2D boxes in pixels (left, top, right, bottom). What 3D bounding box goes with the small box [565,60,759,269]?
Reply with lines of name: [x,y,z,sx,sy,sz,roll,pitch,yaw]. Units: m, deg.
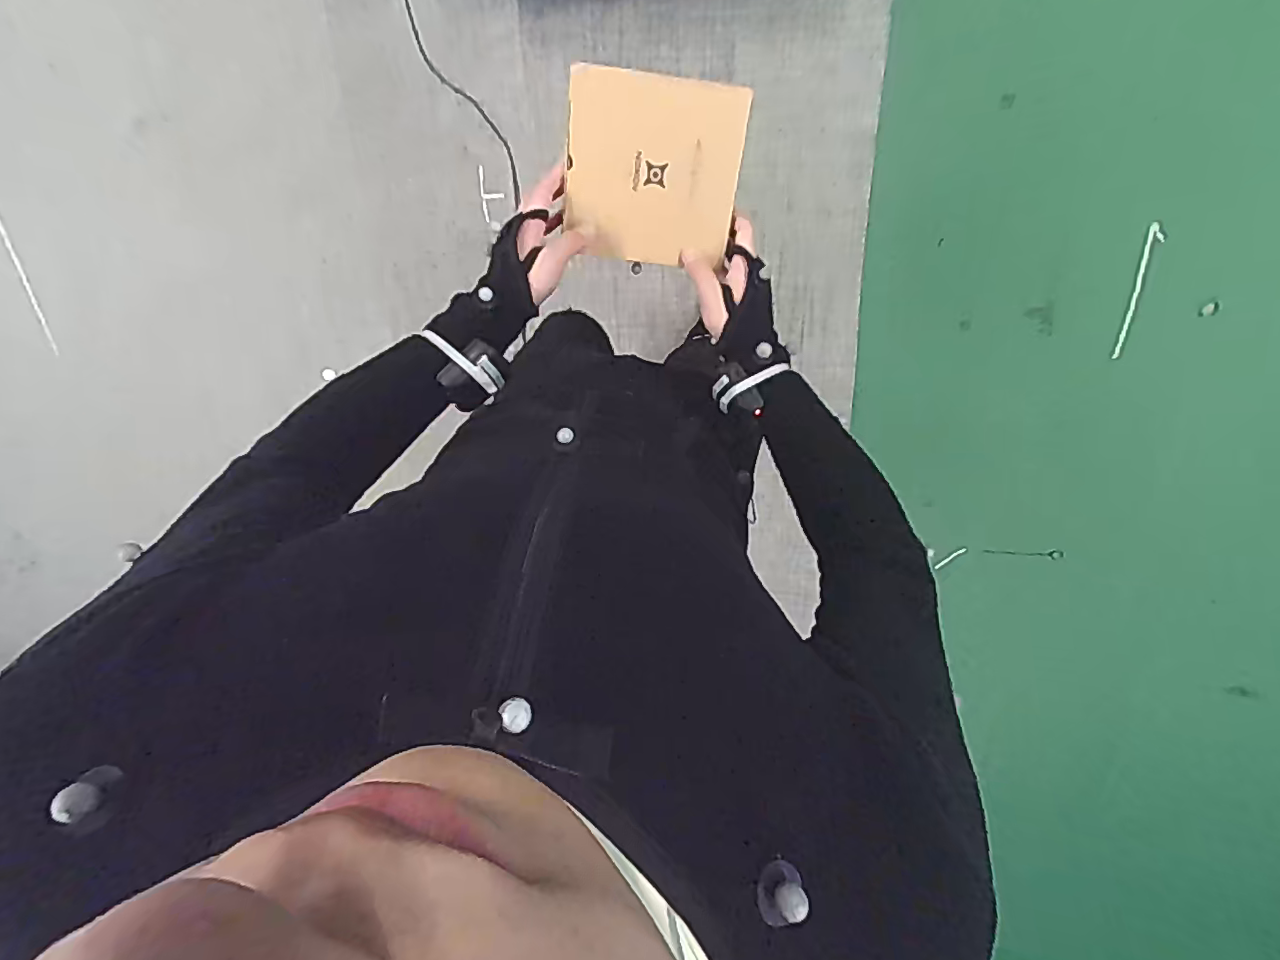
small box: [0.018,-0.341,0.613,0.179,0.176,0.168,7,115,-3]
